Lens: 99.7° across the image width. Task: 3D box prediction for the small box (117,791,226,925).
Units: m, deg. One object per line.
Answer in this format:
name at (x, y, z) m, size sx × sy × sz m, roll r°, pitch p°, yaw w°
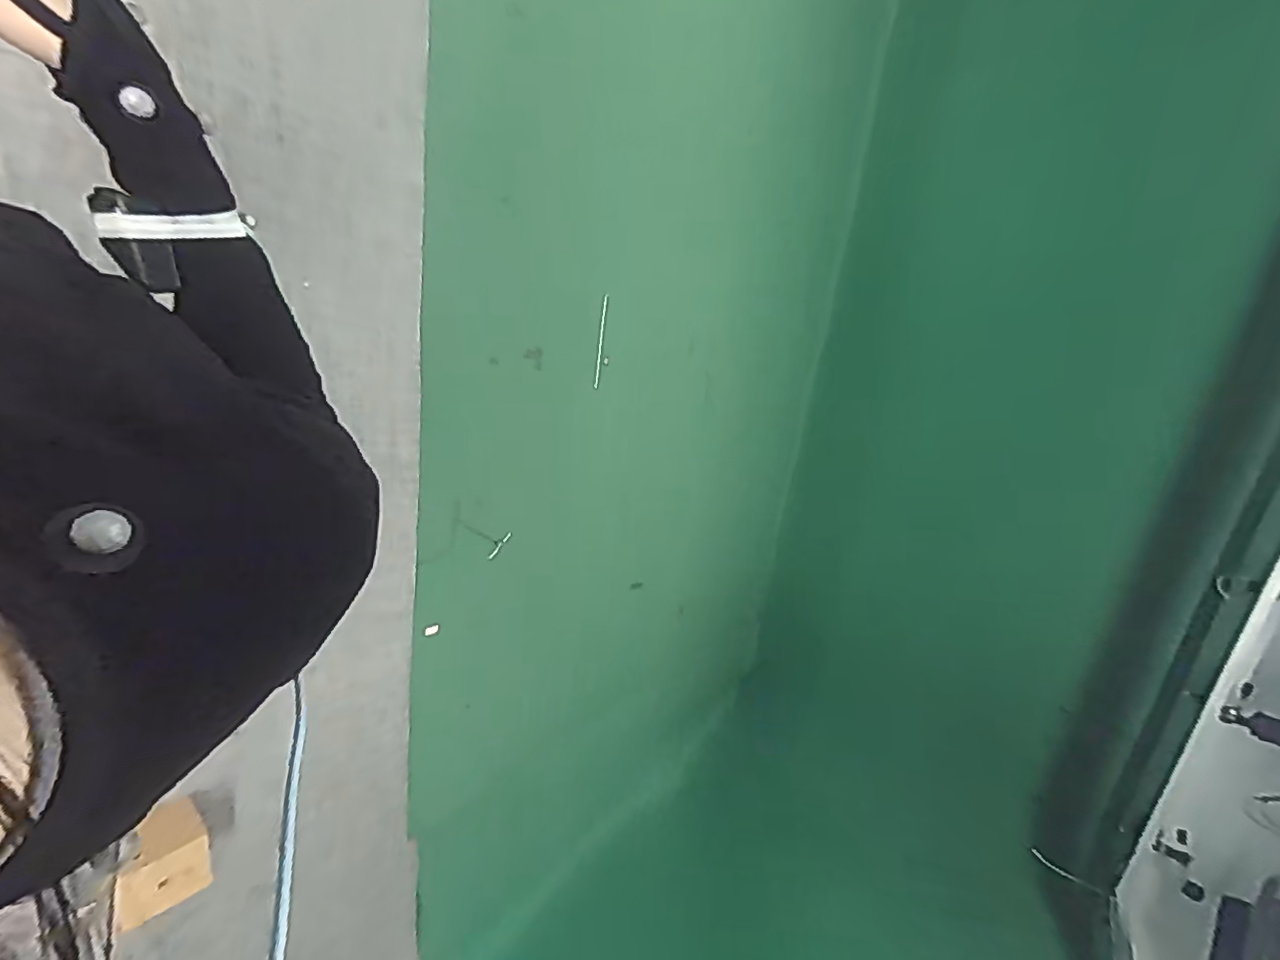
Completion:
small box at (-1.178, 0.938, 1.358) m, size 0.179 × 0.176 × 0.168 m, roll -14°, pitch 116°, yaw -51°
